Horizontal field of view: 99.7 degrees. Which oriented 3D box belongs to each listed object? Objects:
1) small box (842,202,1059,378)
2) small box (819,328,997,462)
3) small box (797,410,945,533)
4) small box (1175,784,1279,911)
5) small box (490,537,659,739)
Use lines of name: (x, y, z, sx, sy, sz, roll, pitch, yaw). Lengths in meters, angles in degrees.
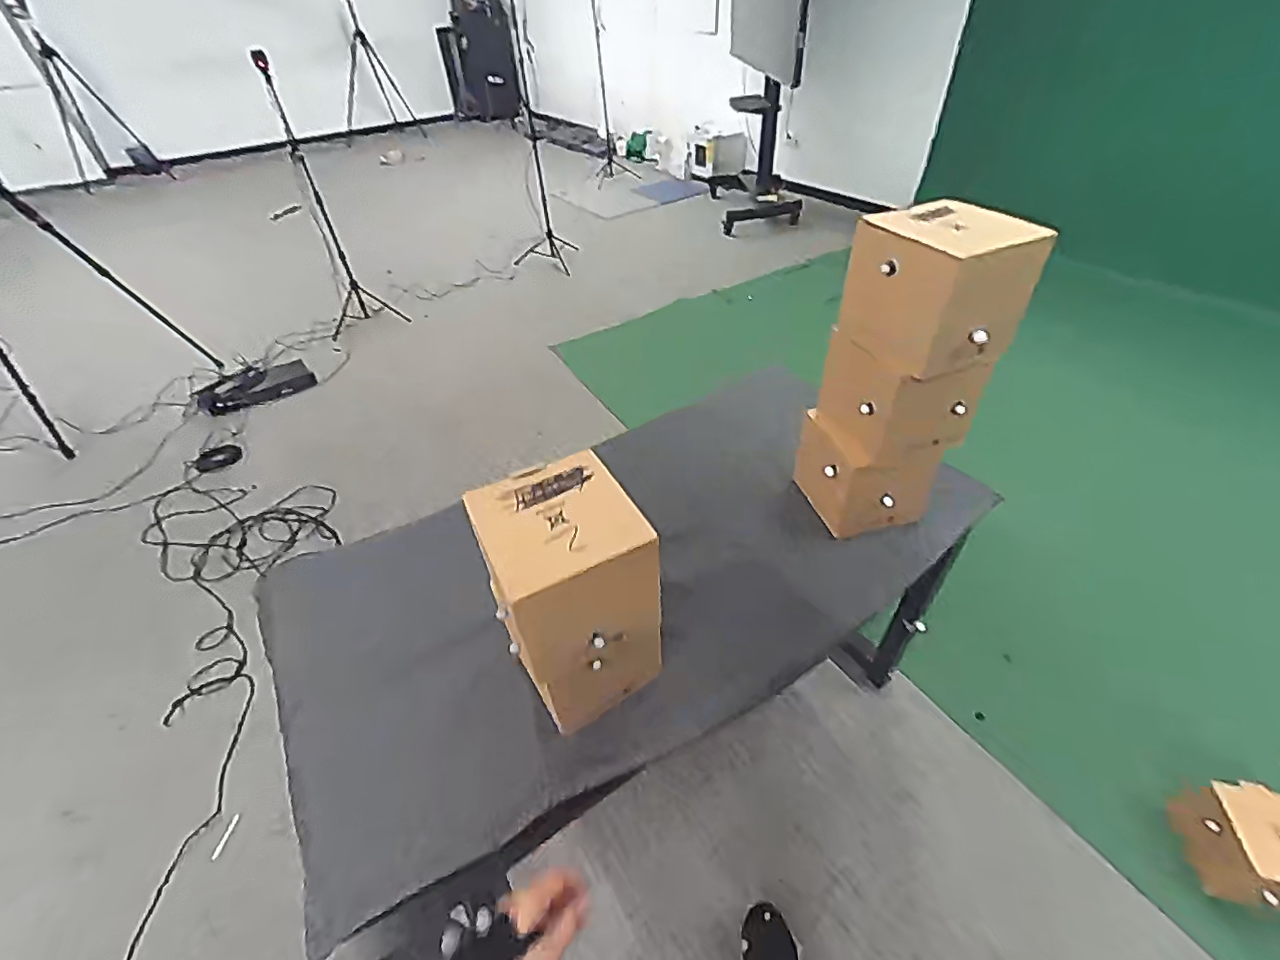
small box: (0.409, -0.266, 0.750, 0.168, 0.176, 0.179, -19, 44, -16)
small box: (0.410, -0.144, 0.861, 0.168, 0.176, 0.179, -14, 41, -12)
small box: (0.399, -0.022, 0.969, 0.168, 0.176, 0.179, -11, 41, -8)
small box: (1.290, 0.770, 1.123, 0.168, 0.176, 0.179, 6, 43, 11)
small box: (-0.088, 0.219, 0.758, 0.168, 0.176, 0.179, -26, 46, -22)
